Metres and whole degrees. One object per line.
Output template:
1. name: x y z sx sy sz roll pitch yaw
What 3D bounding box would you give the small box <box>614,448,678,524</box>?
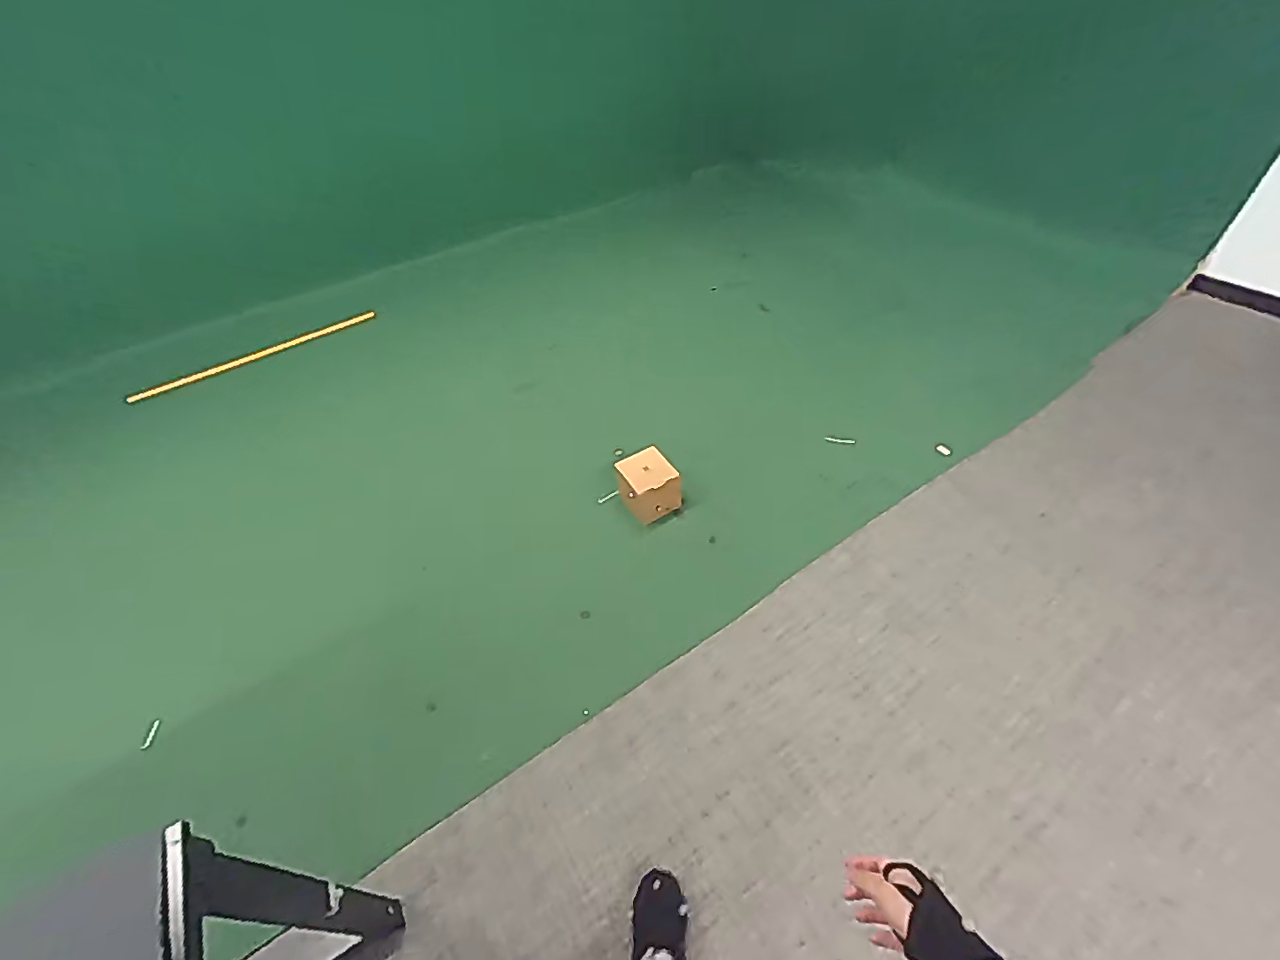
1. small box: 0.022 0.024 1.920 0.168 0.176 0.179 -26 50 -18
